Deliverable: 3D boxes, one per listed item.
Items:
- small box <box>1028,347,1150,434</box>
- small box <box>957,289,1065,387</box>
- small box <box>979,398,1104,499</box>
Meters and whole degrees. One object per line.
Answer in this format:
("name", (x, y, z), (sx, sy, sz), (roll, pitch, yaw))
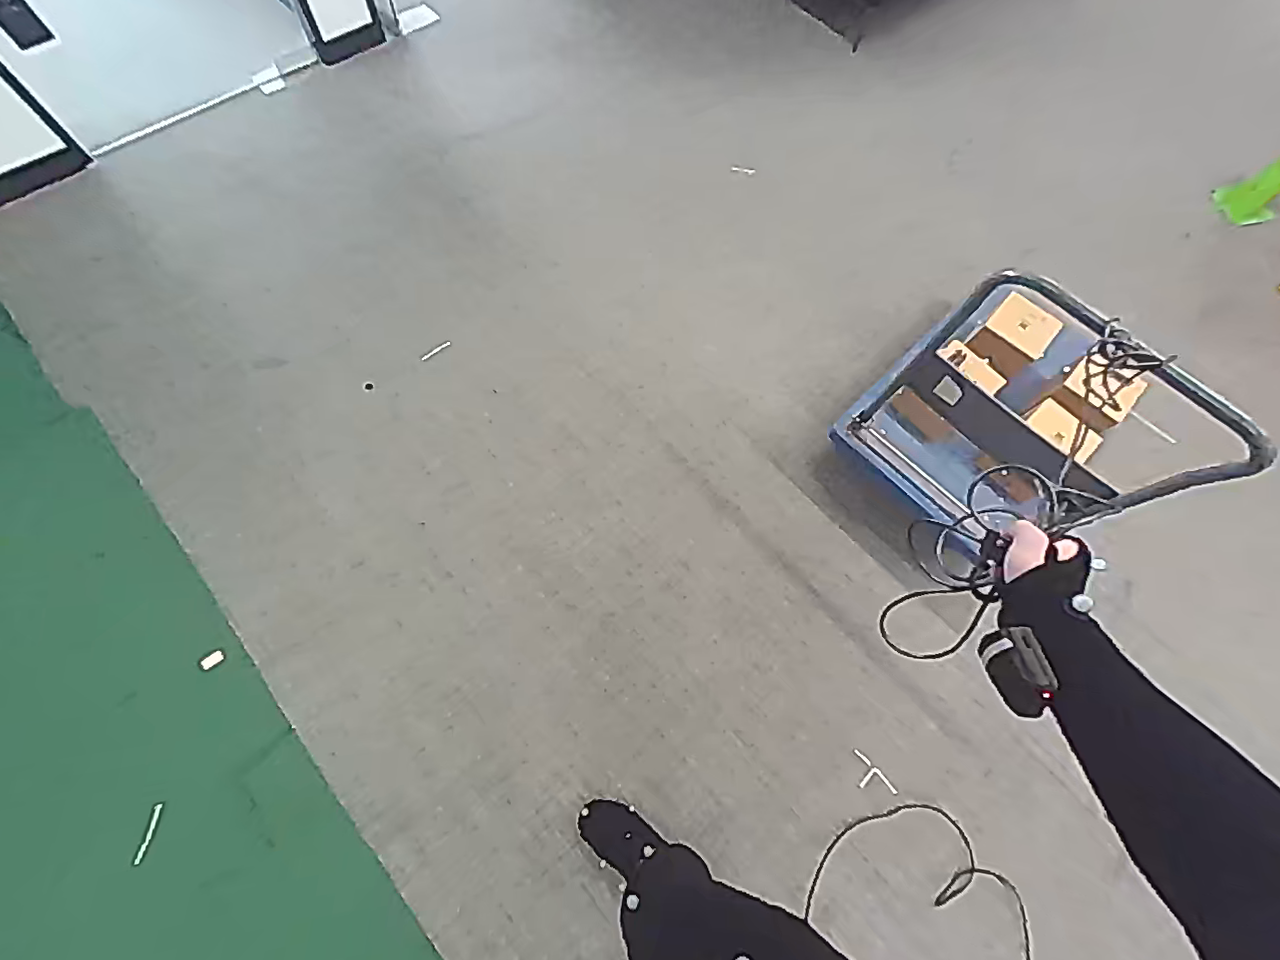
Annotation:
("small box", (1.238, -0.228, 1.506), (0.168, 0.176, 0.179), (43, 73, 14))
("small box", (1.062, -0.404, 1.566), (0.168, 0.176, 0.179), (42, 72, 12))
("small box", (1.055, -0.079, 1.437), (0.179, 0.176, 0.168), (-39, 75, -16))
